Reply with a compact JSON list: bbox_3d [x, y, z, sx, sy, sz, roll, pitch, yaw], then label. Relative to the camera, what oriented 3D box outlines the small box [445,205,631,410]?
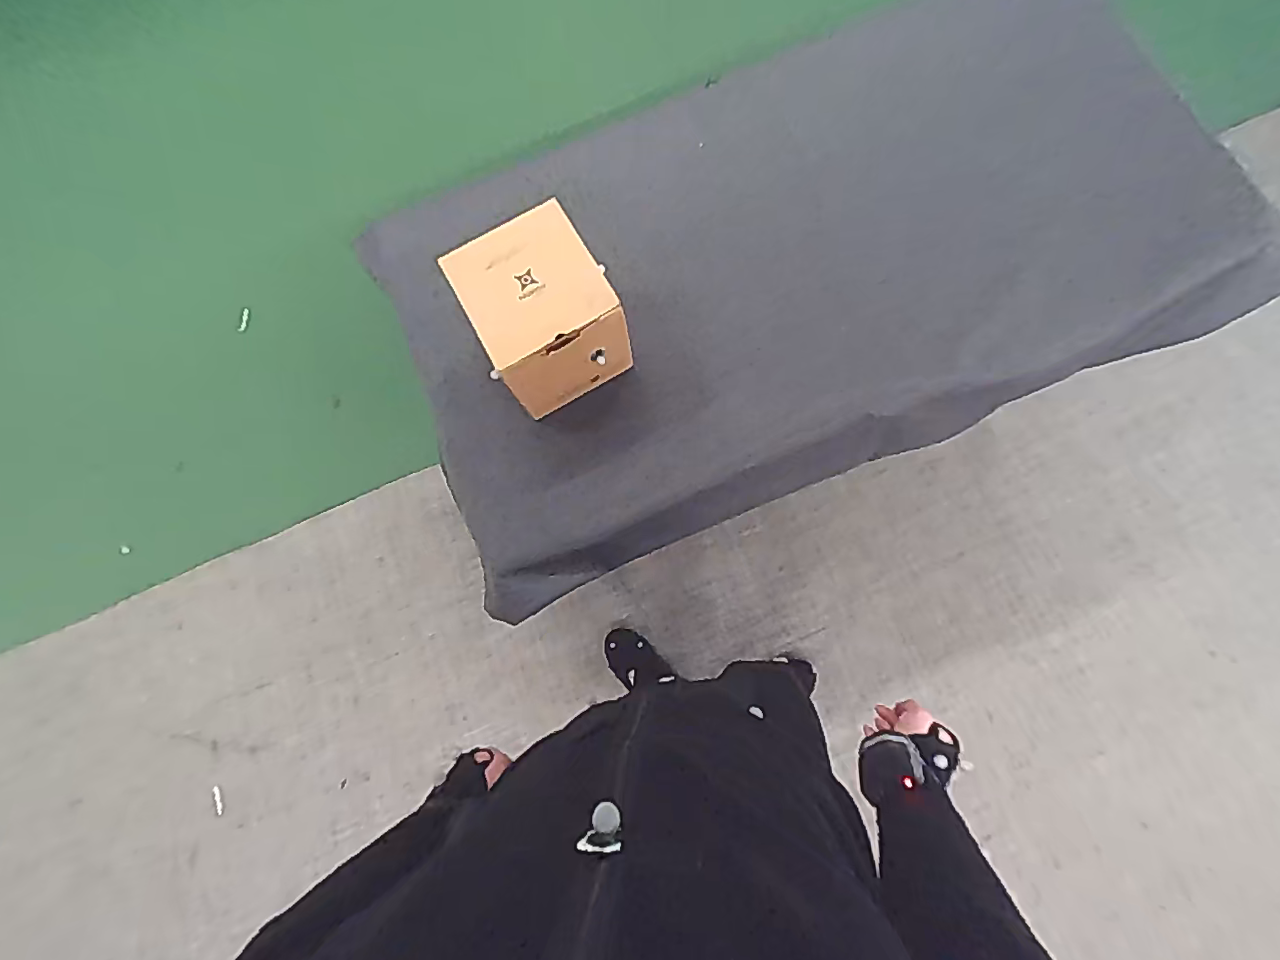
[{"bbox_3d":[-0.123,-0.214,0.725,0.168,0.176,0.179,-30,77,-5],"label":"small box"}]
